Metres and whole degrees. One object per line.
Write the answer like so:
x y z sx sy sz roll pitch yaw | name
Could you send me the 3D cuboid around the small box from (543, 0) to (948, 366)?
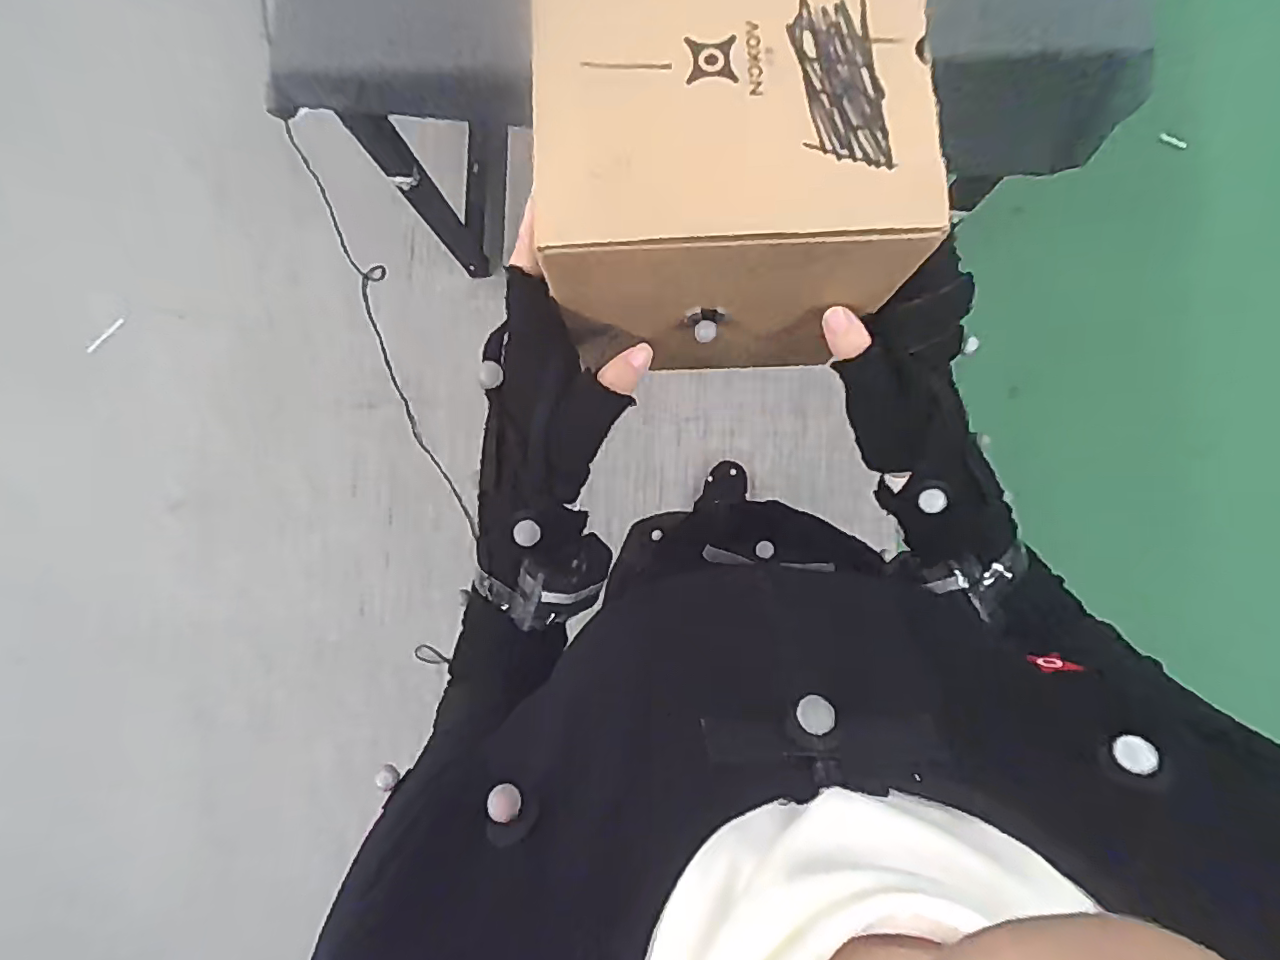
0.042 -0.174 0.320 0.179 0.176 0.168 -4 84 -2 | small box
